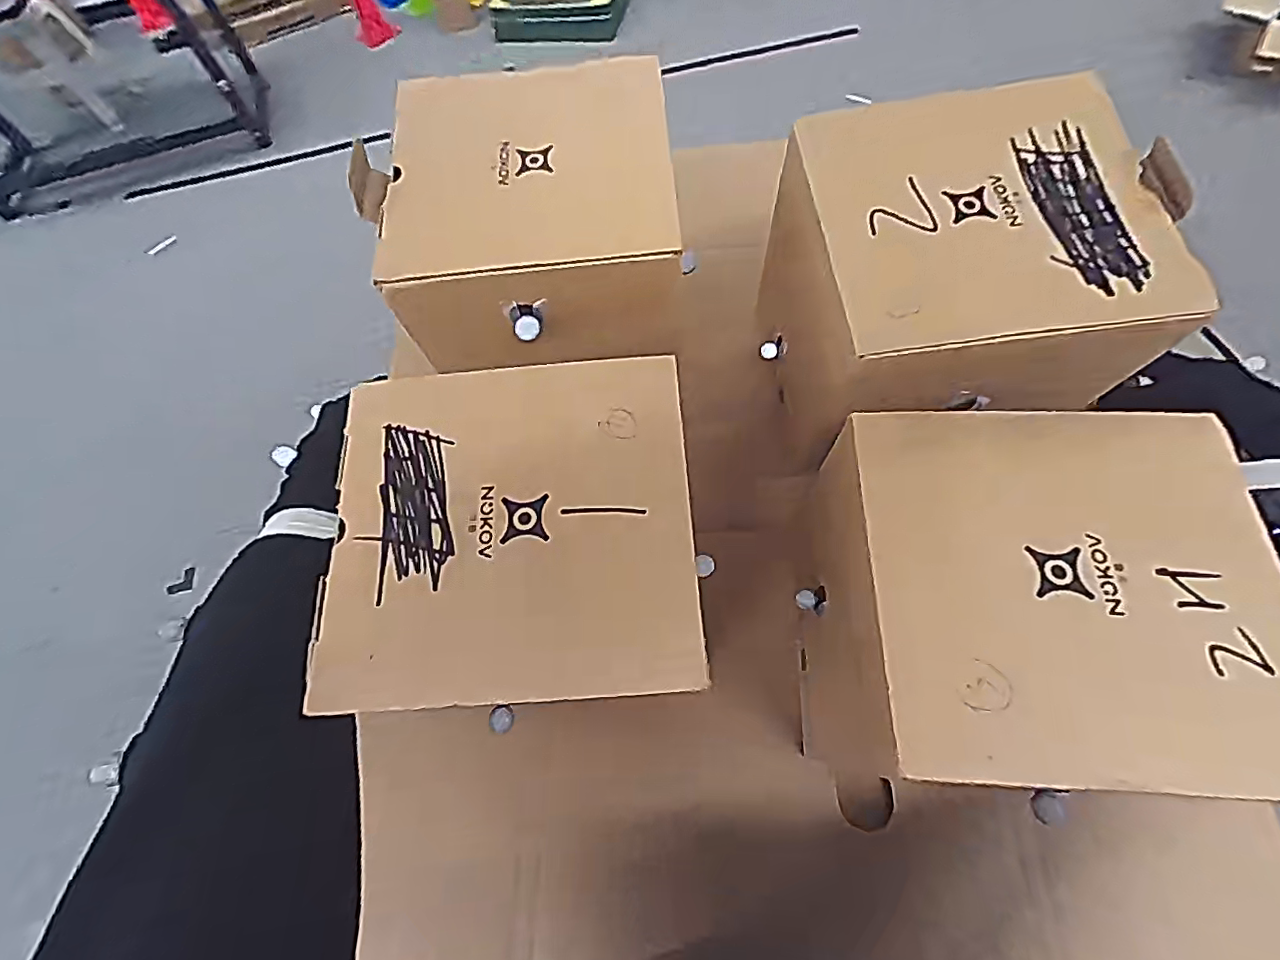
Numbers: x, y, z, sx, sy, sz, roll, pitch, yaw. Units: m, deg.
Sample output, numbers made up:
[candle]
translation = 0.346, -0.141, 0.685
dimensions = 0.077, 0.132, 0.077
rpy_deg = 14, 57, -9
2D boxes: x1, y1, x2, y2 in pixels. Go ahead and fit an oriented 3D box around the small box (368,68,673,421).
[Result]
[small box]
translation = -0.069, -0.159, 0.406
dimensions = 0.179, 0.176, 0.168
rpy_deg = -6, 68, 3
